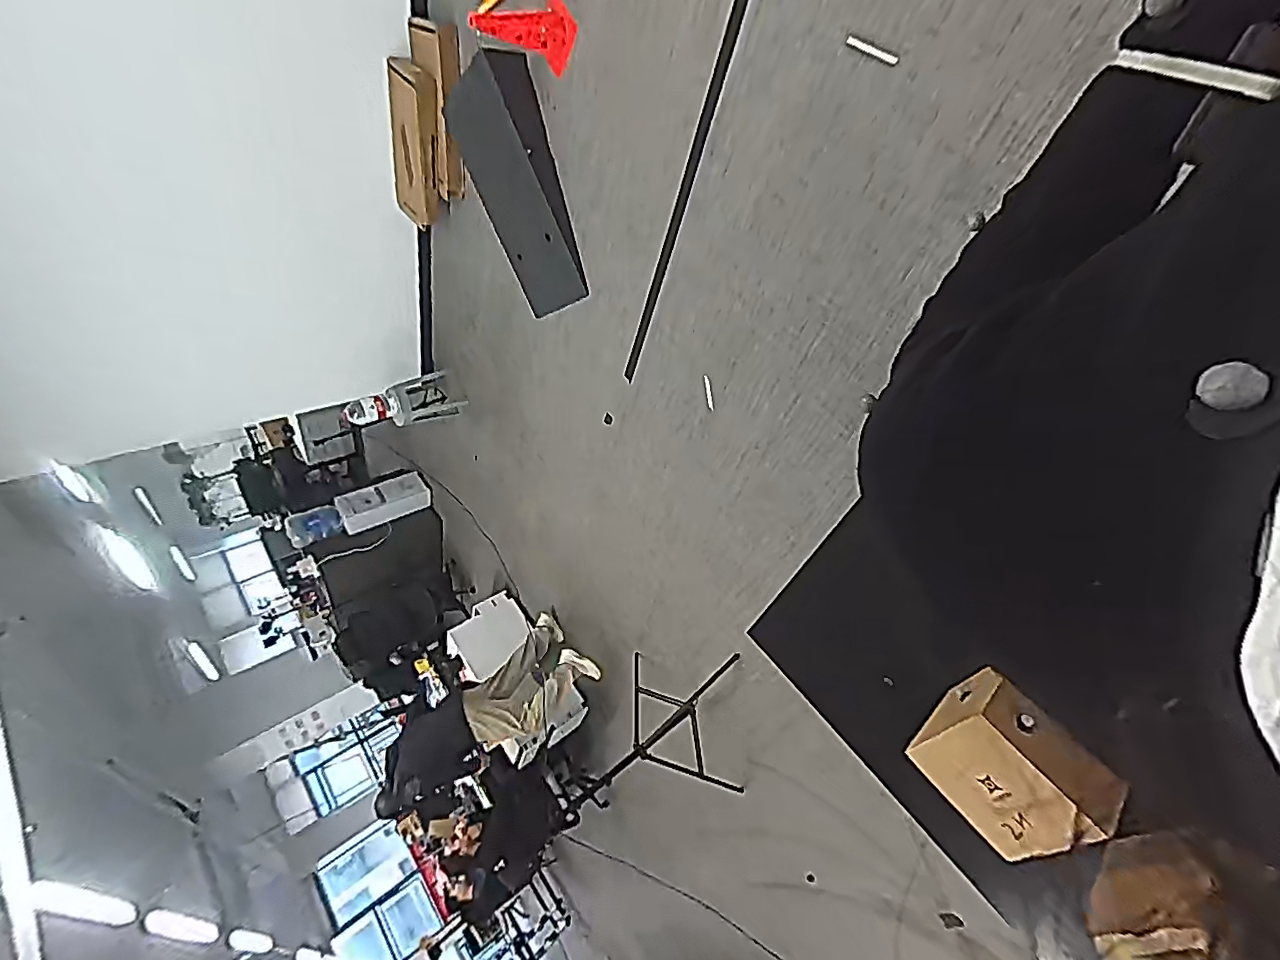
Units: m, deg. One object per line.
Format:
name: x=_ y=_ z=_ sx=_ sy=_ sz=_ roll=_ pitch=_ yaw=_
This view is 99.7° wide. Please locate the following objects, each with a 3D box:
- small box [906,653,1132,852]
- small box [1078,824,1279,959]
small box: x=0.529 y=0.372 z=0.764 sx=0.179 sy=0.176 sz=0.168 roll=47 pitch=142 yaw=25
small box: x=0.697 y=0.553 z=0.654 sx=0.179 sy=0.176 sz=0.168 roll=47 pitch=141 yaw=23
